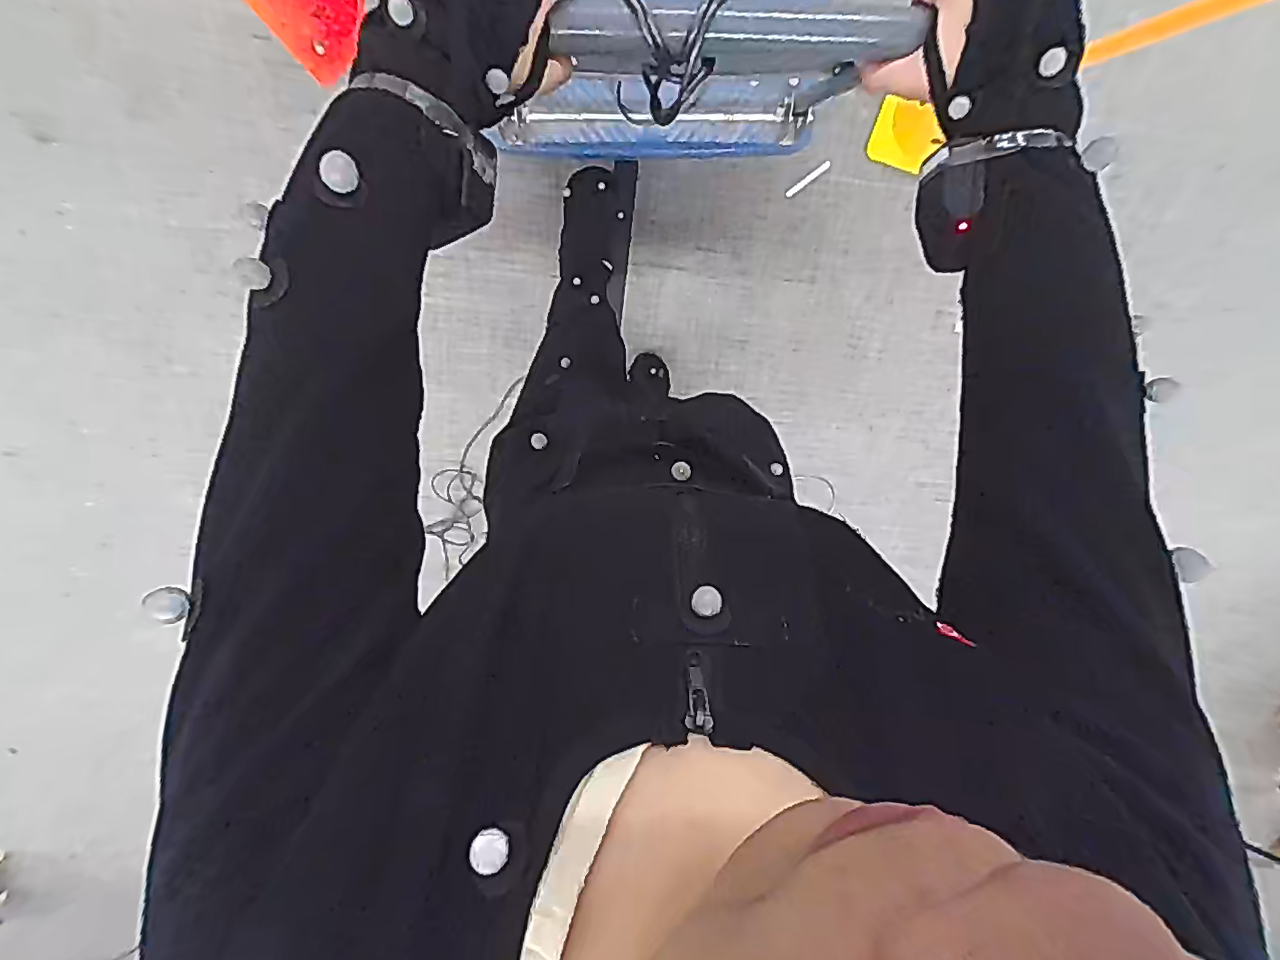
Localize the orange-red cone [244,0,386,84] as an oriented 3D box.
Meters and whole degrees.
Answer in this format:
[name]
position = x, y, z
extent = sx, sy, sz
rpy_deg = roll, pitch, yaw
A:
[orange-red cone]
position = -0.570, -0.790, 0.810
extent = 0.199, 0.360, 0.198
rpy_deg = -37, 113, 11
